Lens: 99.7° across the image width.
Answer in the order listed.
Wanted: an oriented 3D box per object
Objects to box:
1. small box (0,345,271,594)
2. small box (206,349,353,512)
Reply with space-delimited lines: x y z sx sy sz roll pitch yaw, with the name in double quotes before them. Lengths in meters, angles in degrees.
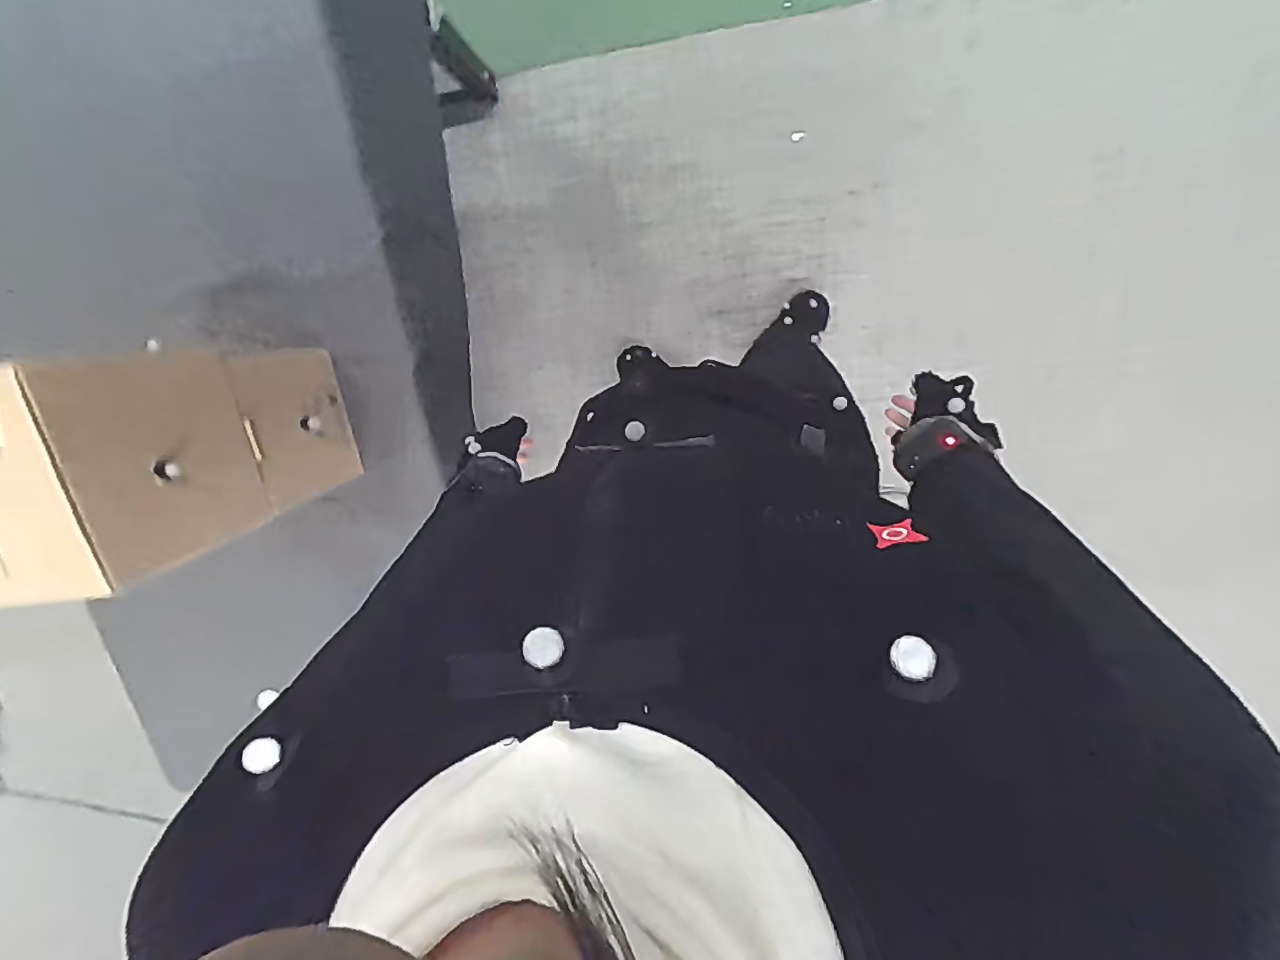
"small box" -0.481 -0.017 0.477 0.168 0.176 0.179 -9 104 8
"small box" -0.472 -0.058 0.637 0.179 0.176 0.168 -7 106 7
